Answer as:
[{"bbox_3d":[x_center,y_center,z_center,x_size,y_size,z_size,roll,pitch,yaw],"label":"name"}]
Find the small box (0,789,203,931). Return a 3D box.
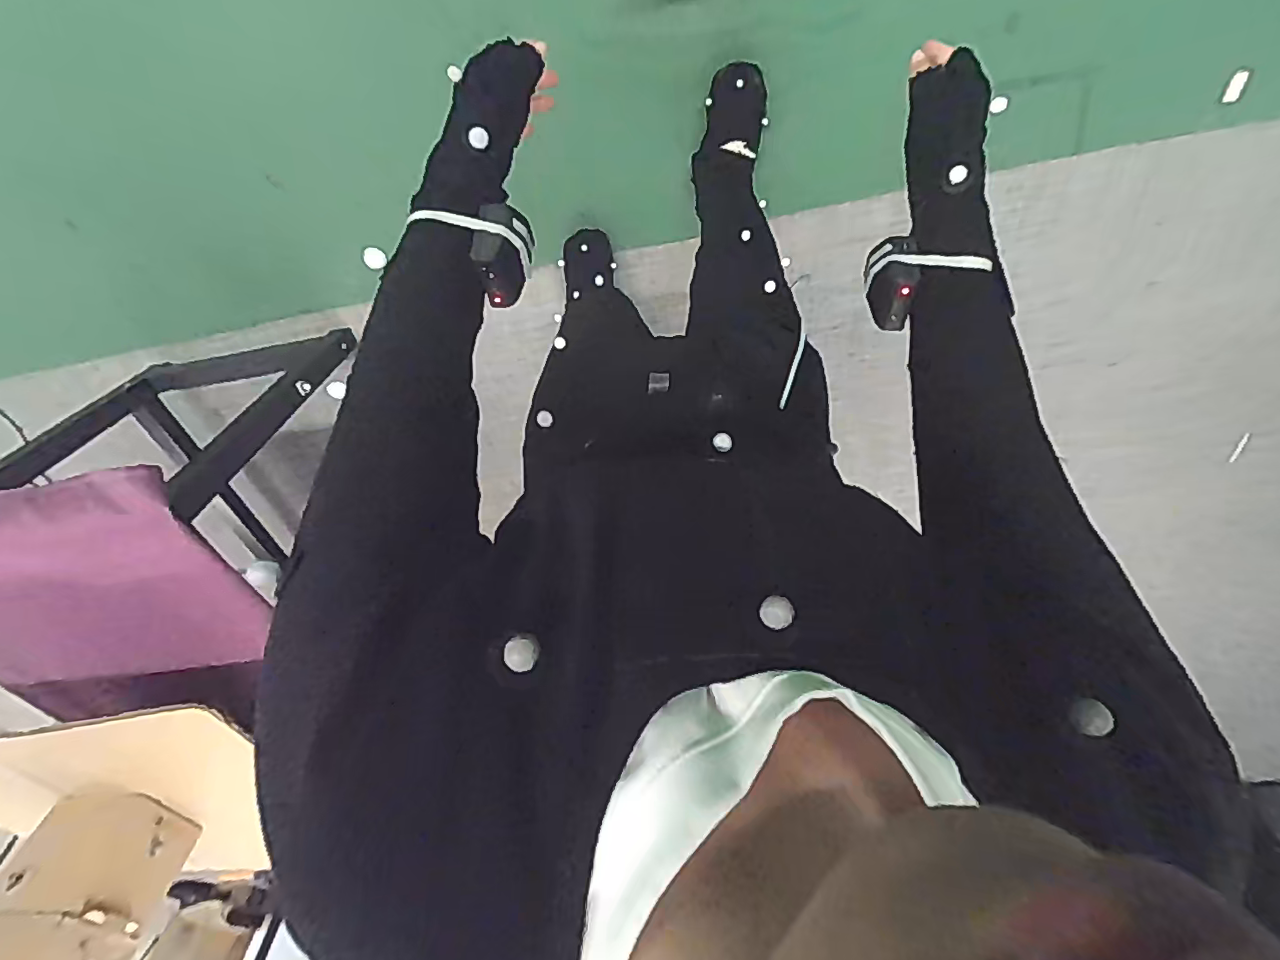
[{"bbox_3d":[-0.936,0.661,0.945,0.179,0.176,0.168,-6,129,7],"label":"small box"}]

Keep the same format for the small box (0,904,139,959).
[{"bbox_3d":[-0.941,0.764,0.819,0.179,0.176,0.168,-6,128,7],"label":"small box"}]
